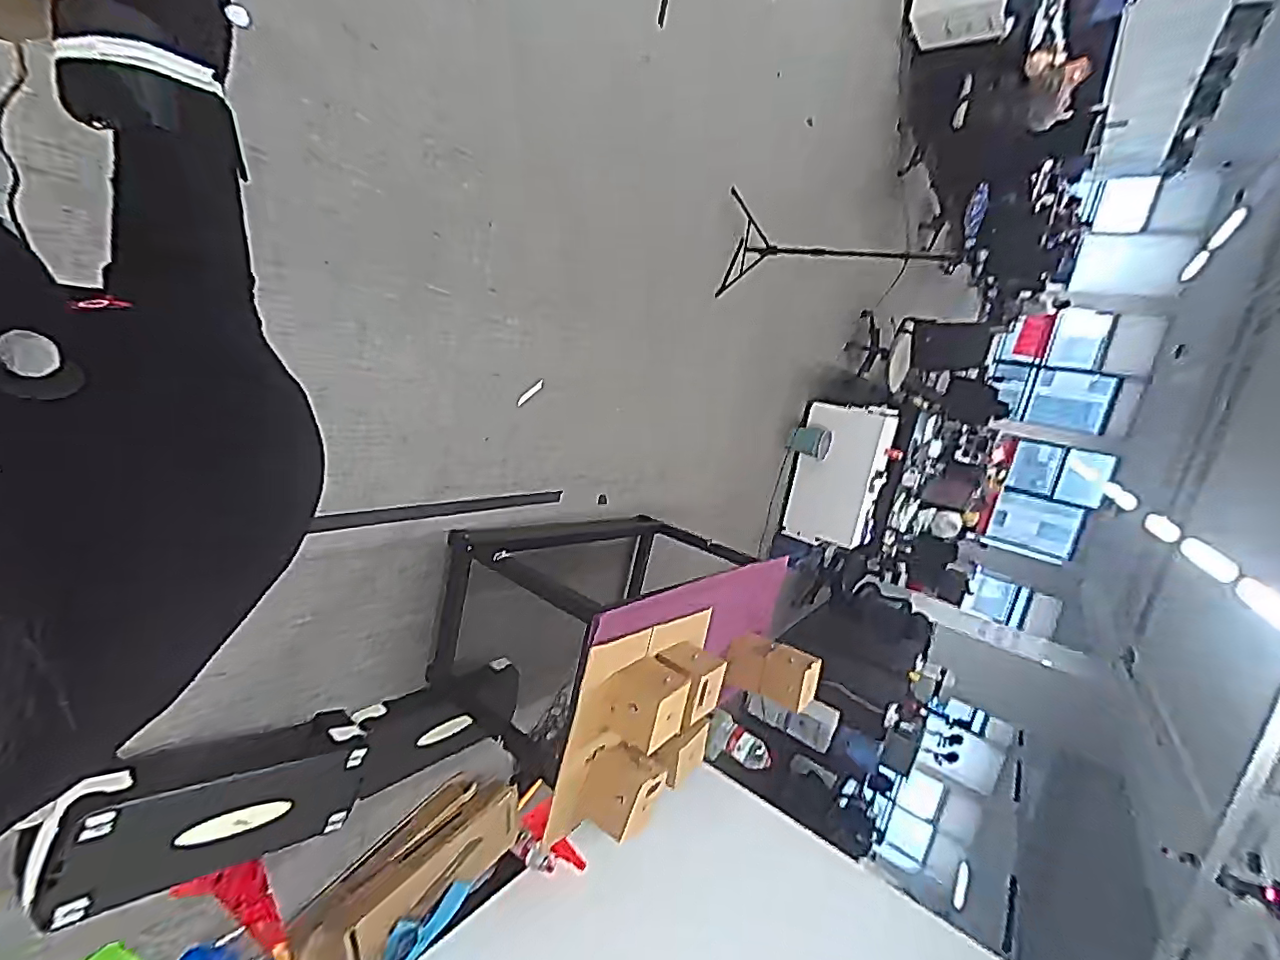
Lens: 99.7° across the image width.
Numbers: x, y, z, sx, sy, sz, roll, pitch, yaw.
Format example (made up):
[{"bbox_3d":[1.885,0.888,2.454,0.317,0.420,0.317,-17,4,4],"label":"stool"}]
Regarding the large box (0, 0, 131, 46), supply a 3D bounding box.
[{"bbox_3d":[-0.532,-0.450,0.215,0.408,0.320,0.320,-15,124,-55],"label":"large box"}]
